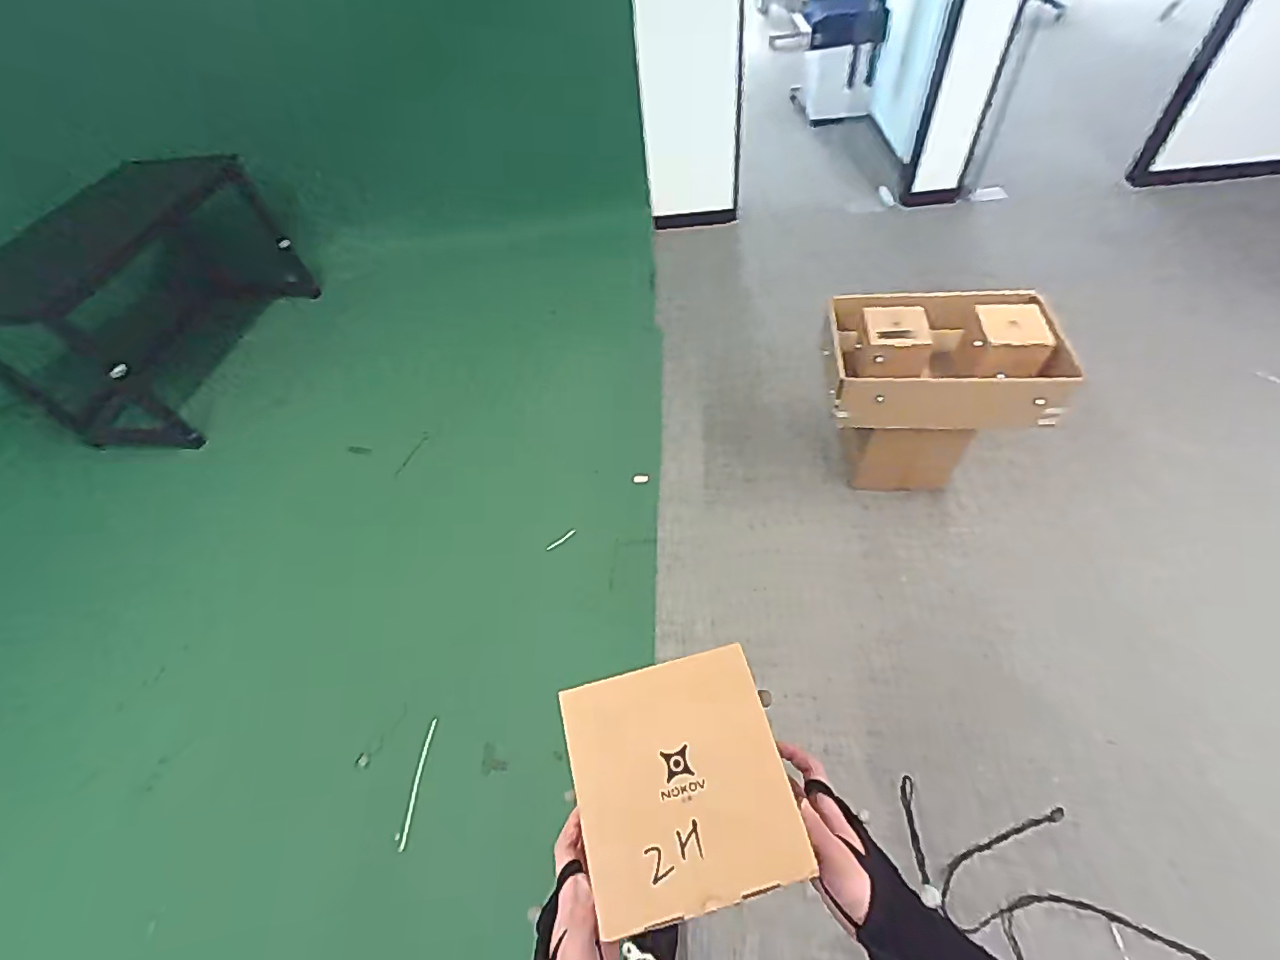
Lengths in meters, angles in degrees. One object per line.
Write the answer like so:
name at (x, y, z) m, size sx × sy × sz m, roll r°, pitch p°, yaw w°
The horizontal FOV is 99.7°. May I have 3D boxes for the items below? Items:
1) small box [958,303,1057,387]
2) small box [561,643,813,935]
small box at (1.047, -0.389, 1.561) m, size 0.168 × 0.176 × 0.179 m, roll 2°, pitch 54°, yaw 9°
small box at (0.033, 0.274, 0.495) m, size 0.168 × 0.176 × 0.179 m, roll -14°, pitch 59°, yaw -3°
